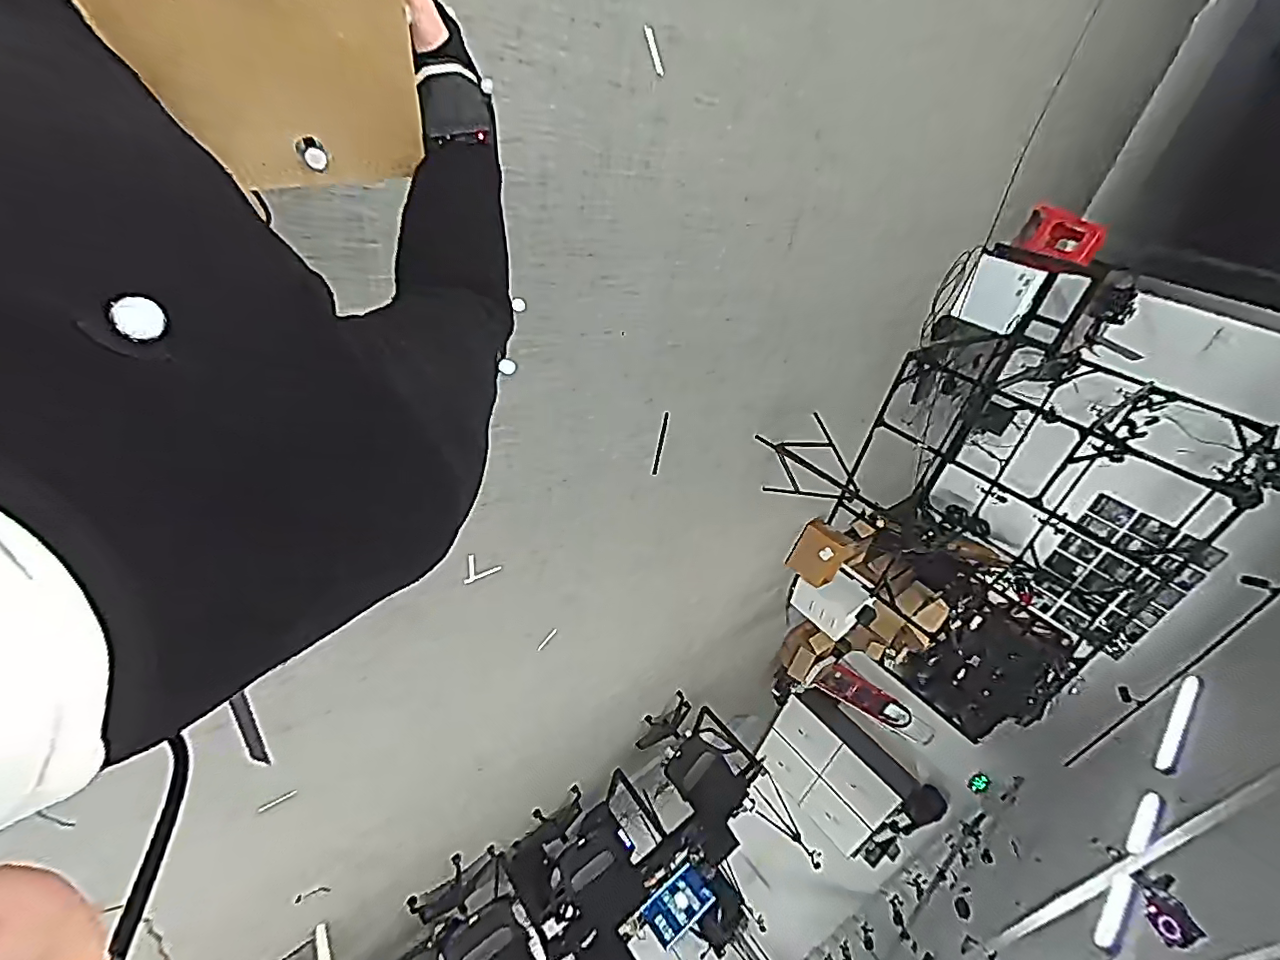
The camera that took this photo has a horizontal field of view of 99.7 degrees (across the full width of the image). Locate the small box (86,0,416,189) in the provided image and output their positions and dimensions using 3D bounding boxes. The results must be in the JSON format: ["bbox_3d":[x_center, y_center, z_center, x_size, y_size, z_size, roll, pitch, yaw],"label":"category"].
[{"bbox_3d":[-0.281,-0.354,0.412,0.179,0.168,0.176,-17,173,-19],"label":"small box"}]
